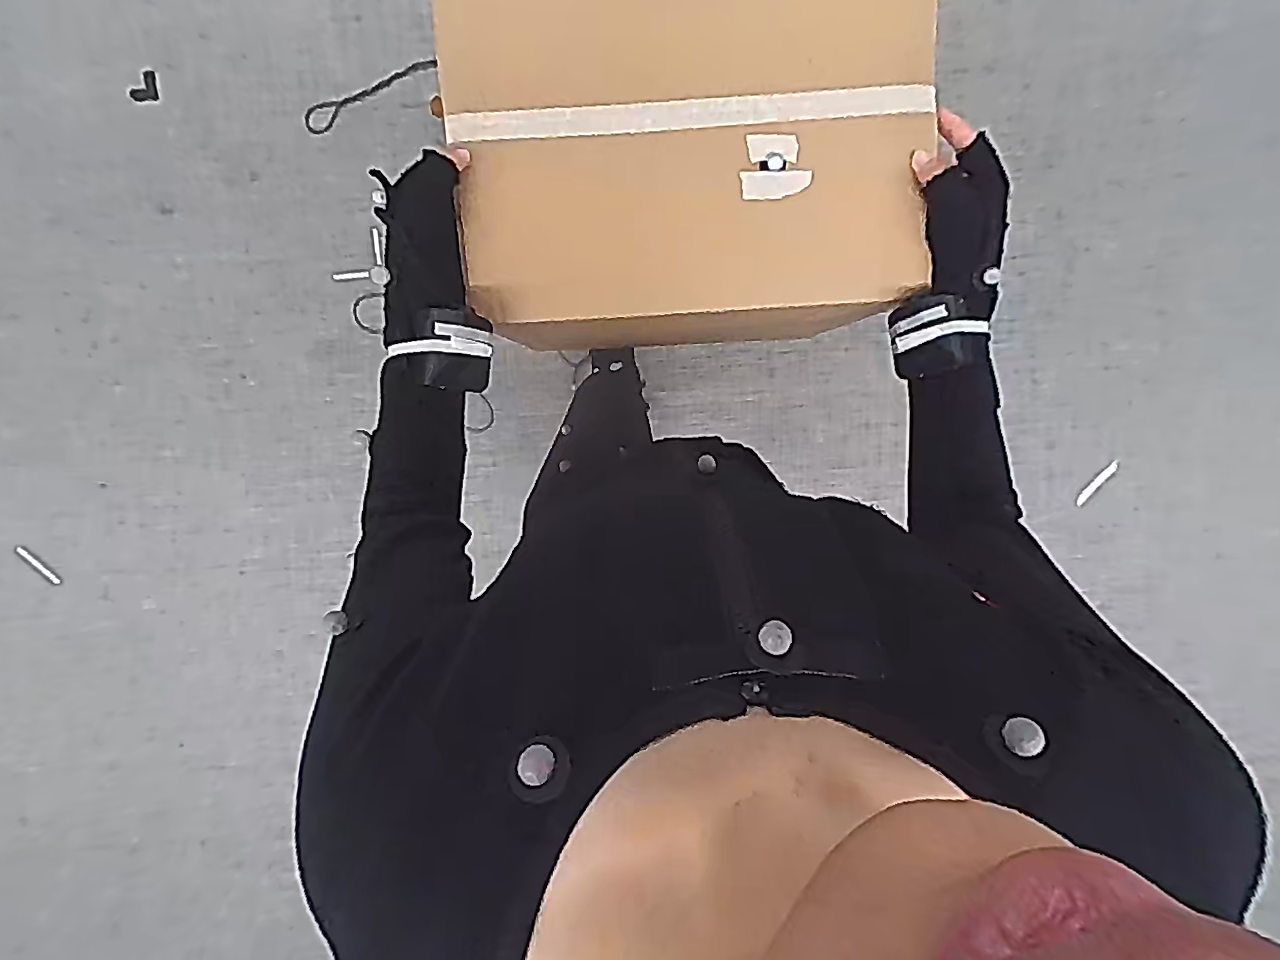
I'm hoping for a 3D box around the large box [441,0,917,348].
[{"bbox_3d":[0.036,-0.335,0.613,0.408,0.320,0.320,-4,100,-1],"label":"large box"}]
